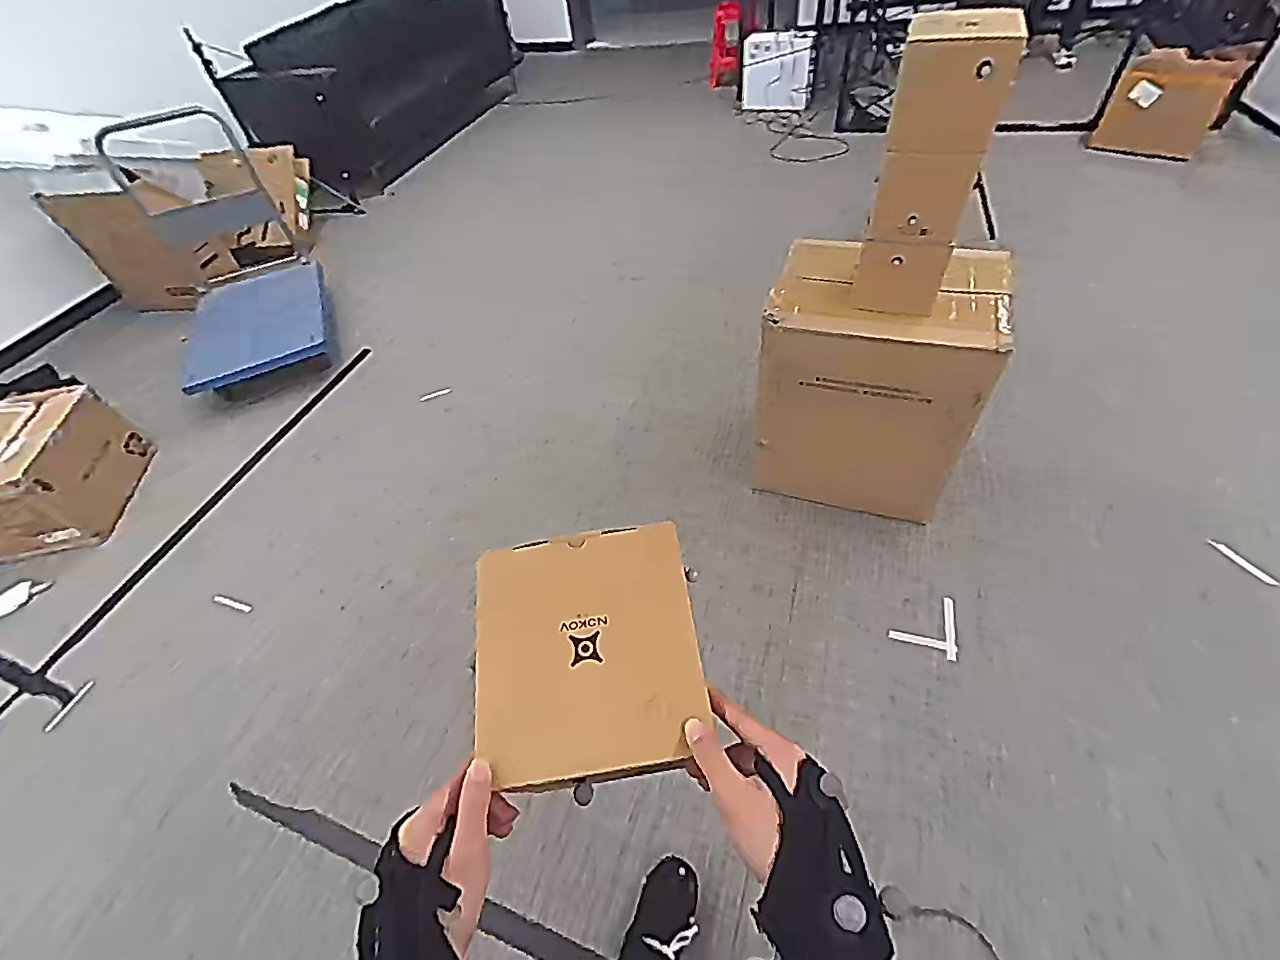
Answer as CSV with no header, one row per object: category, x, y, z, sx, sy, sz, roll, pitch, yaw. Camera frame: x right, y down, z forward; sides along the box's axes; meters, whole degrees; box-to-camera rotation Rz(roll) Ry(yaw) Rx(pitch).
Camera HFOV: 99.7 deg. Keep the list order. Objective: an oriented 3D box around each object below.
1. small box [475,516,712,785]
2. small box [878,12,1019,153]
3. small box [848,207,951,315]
small box,-0.034,0.156,0.470,0.168,0.176,0.179,-9,58,0
small box,0.546,-0.708,0.972,0.179,0.176,0.168,12,53,18
small box,0.579,-0.493,1.220,0.179,0.176,0.168,12,53,17
